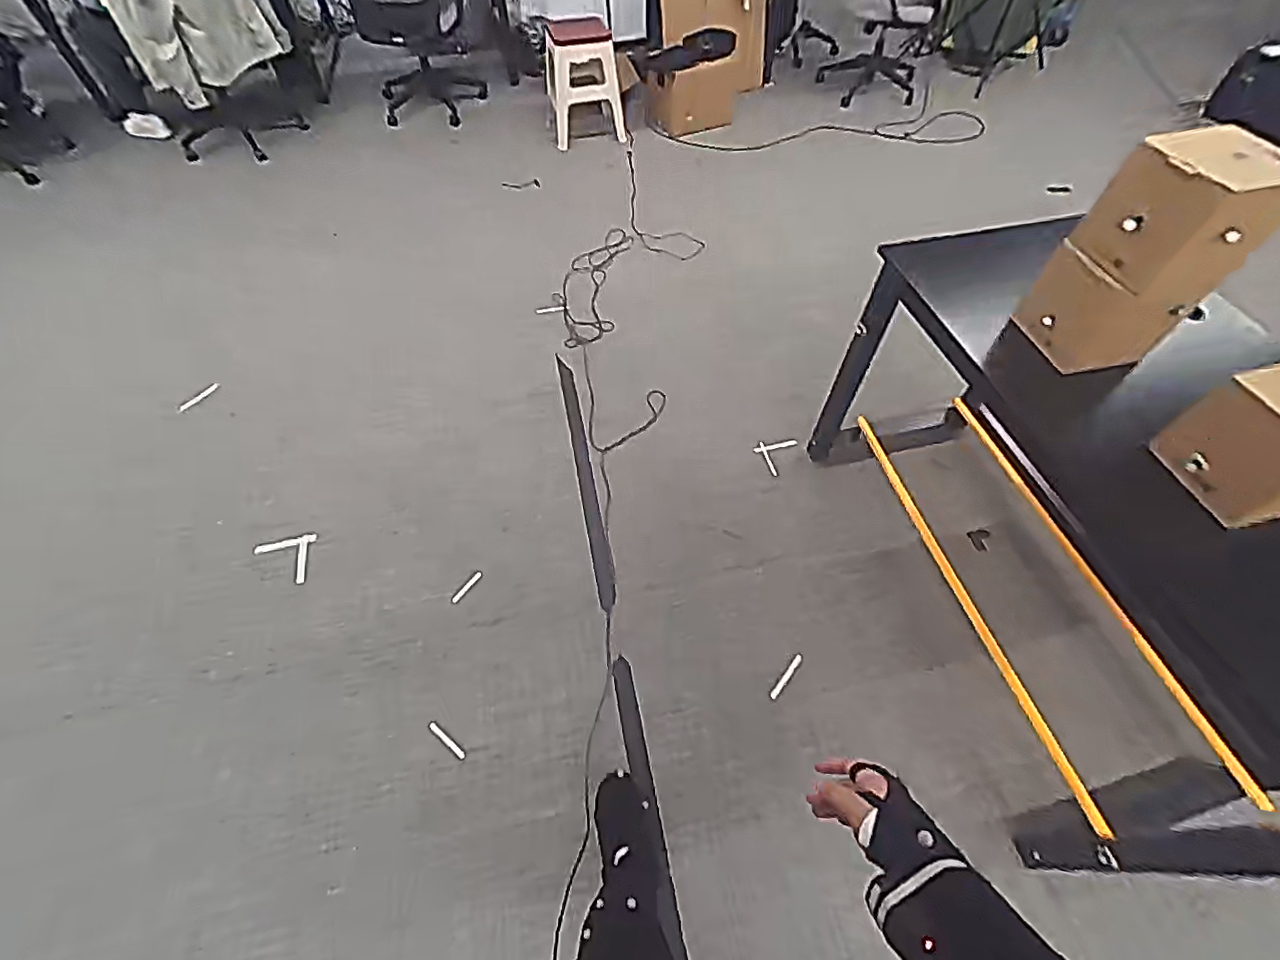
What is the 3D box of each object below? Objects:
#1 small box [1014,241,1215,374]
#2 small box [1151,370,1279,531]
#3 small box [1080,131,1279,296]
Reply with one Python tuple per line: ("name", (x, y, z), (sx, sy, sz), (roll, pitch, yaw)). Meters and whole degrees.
("small box", (0.838, -0.315, 0.978), (0.179, 0.176, 0.168), (-10, 56, -7))
("small box", (0.939, -0.047, 0.799), (0.179, 0.176, 0.168), (-13, 55, -8))
("small box", (0.847, -0.411, 0.845), (0.179, 0.176, 0.168), (-12, 57, -8))
